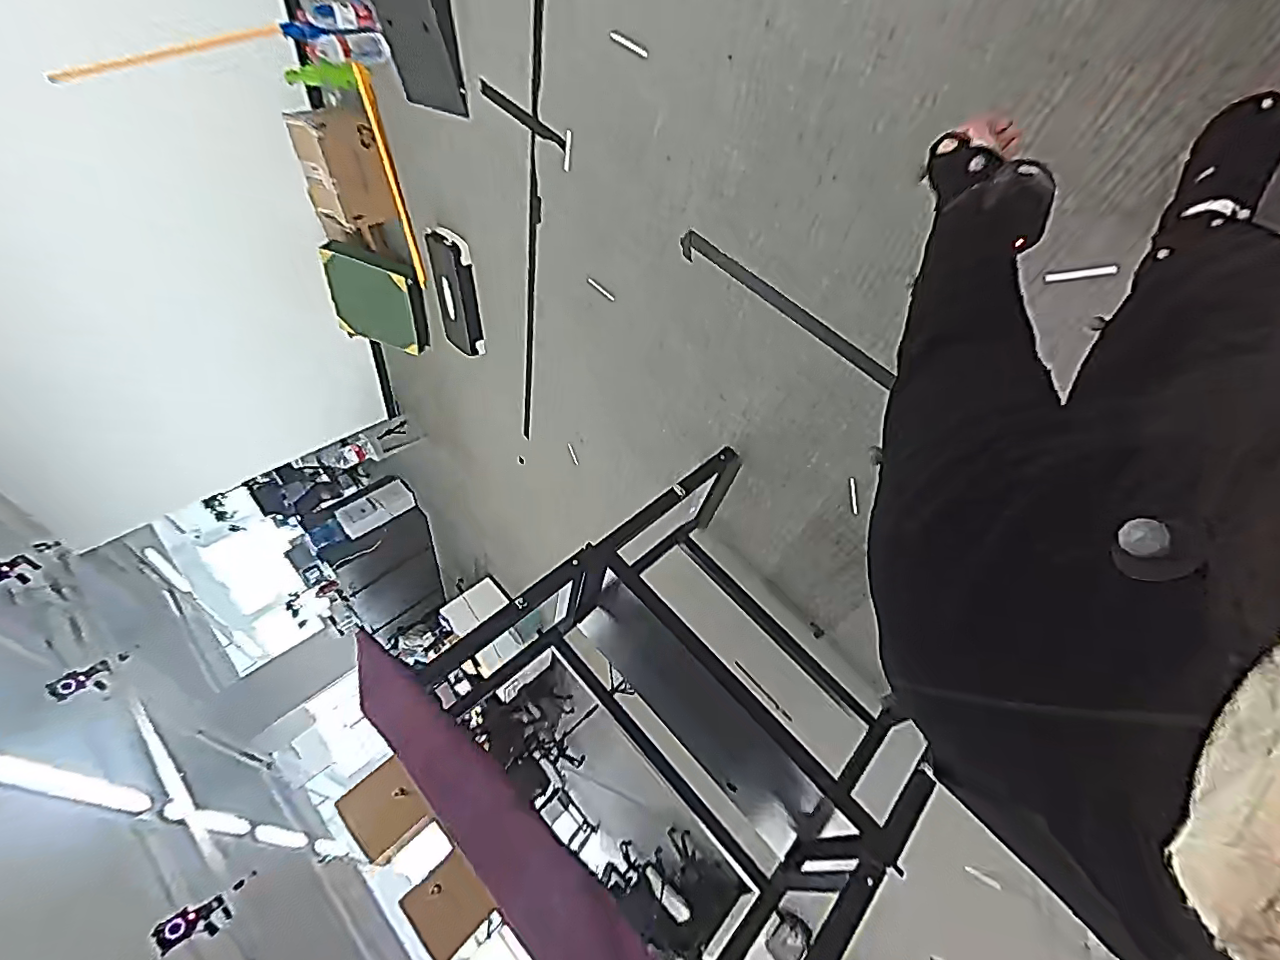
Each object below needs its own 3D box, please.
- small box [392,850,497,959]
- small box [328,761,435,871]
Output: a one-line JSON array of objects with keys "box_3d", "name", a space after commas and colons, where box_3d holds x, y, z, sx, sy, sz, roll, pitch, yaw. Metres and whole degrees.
[{"box_3d": [-0.469, 1.036, 1.314, 0.179, 0.176, 0.168, 44, 147, 18], "name": "small box"}, {"box_3d": [-0.646, 0.841, 1.368, 0.179, 0.176, 0.168, 43, 147, 20], "name": "small box"}]
